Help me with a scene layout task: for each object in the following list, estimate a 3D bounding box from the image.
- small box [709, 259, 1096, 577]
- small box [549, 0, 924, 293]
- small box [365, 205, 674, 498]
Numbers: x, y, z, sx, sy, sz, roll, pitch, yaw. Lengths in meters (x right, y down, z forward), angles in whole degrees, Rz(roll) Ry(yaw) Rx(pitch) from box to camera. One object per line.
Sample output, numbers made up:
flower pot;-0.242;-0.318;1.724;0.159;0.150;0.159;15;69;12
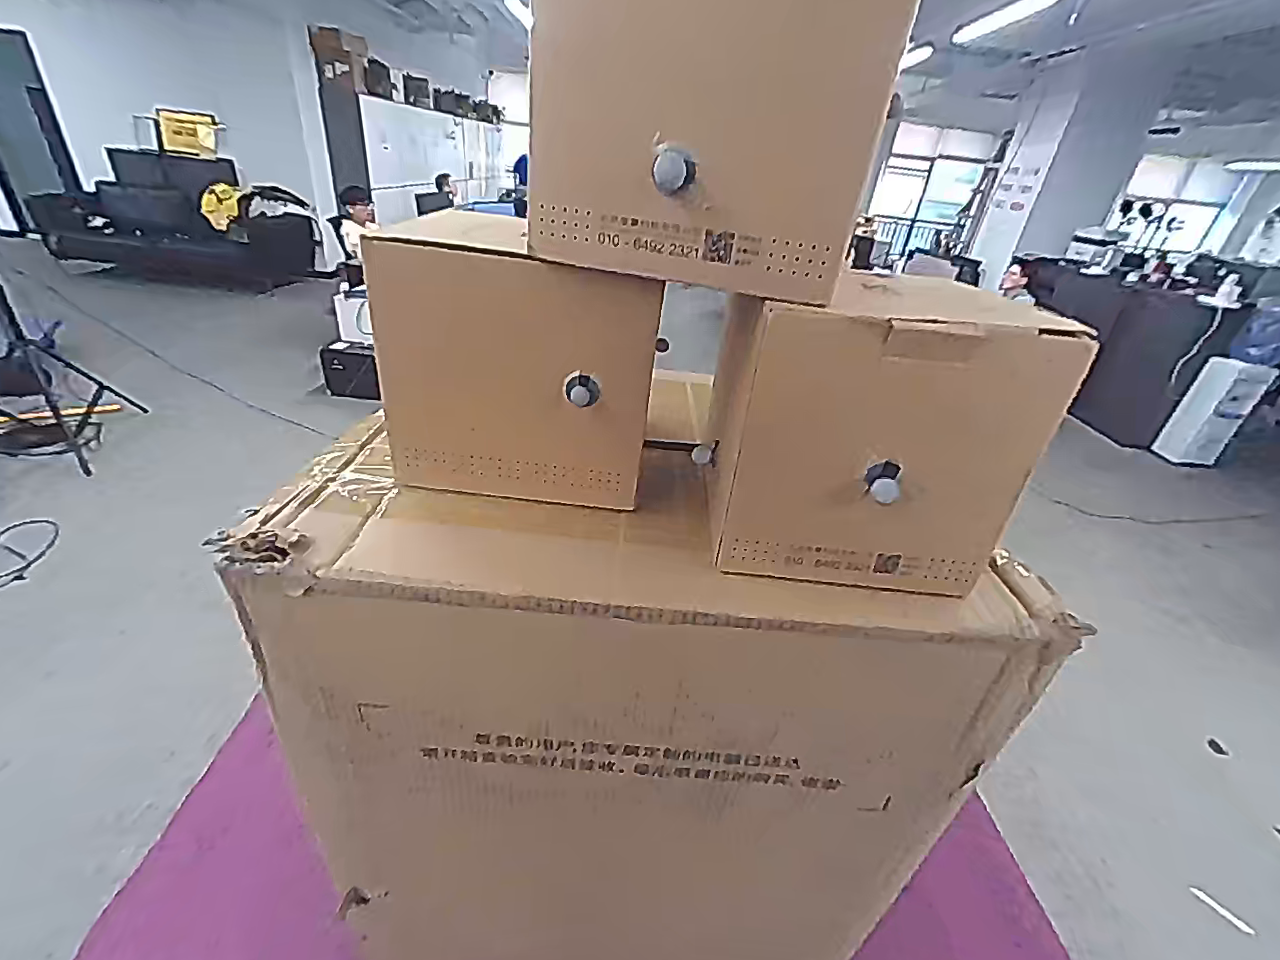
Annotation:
small box;0.143;-0.052;0.376;0.168;0.176;0.179;6;30;0
small box;0.051;-0.218;0.314;0.168;0.176;0.179;12;31;9
small box;-0.074;-0.100;0.412;0.179;0.176;0.168;5;30;-2
